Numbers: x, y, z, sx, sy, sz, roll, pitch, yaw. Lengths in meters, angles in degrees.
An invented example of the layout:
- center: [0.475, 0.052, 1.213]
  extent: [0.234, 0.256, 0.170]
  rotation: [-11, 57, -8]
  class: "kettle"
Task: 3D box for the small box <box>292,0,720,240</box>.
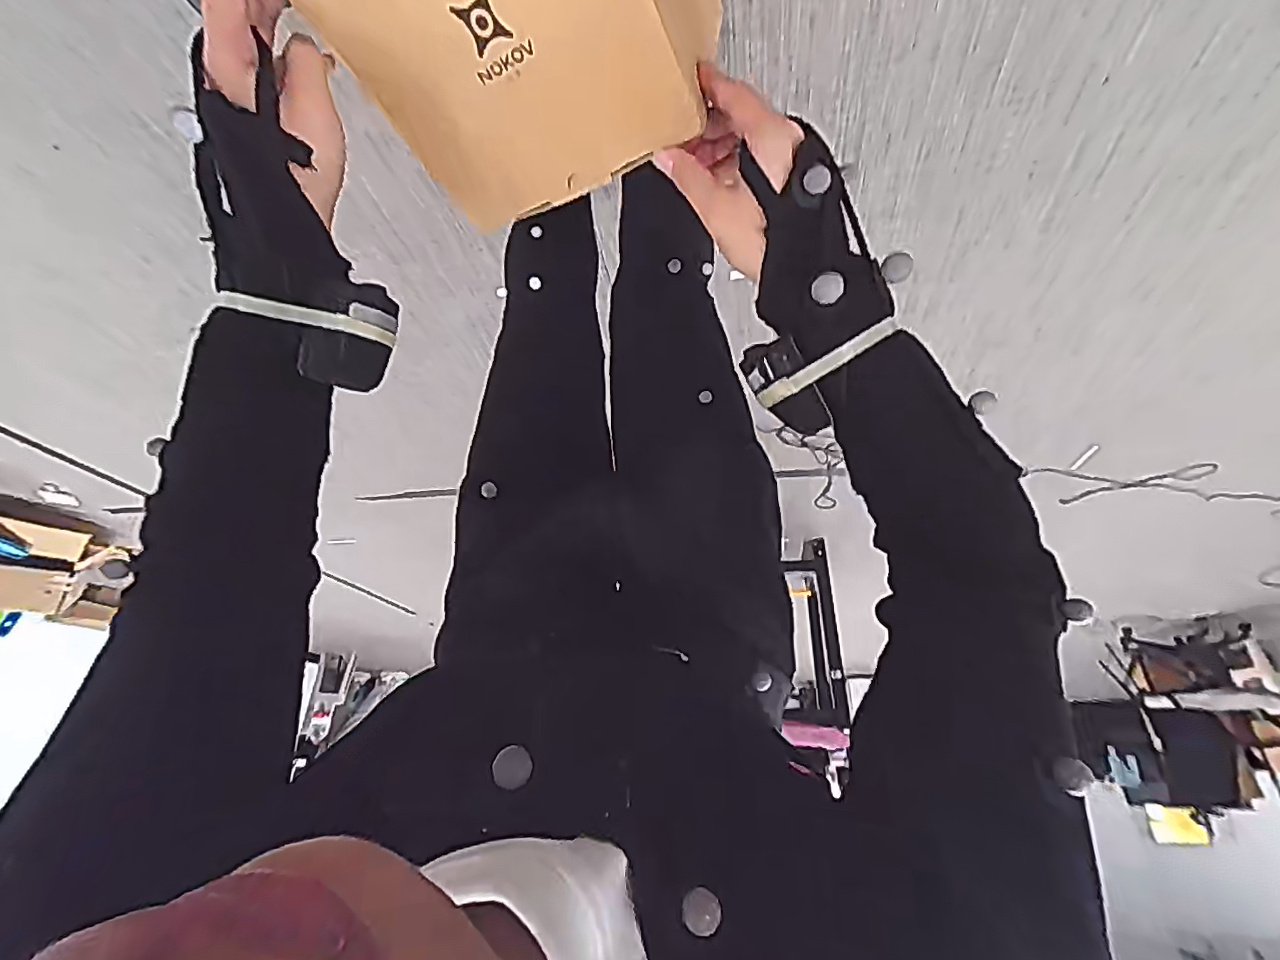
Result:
- center: [-0.061, -0.283, 0.306]
  extent: [0.168, 0.176, 0.179]
  rotation: [-10, 145, 27]
  class: "small box"
